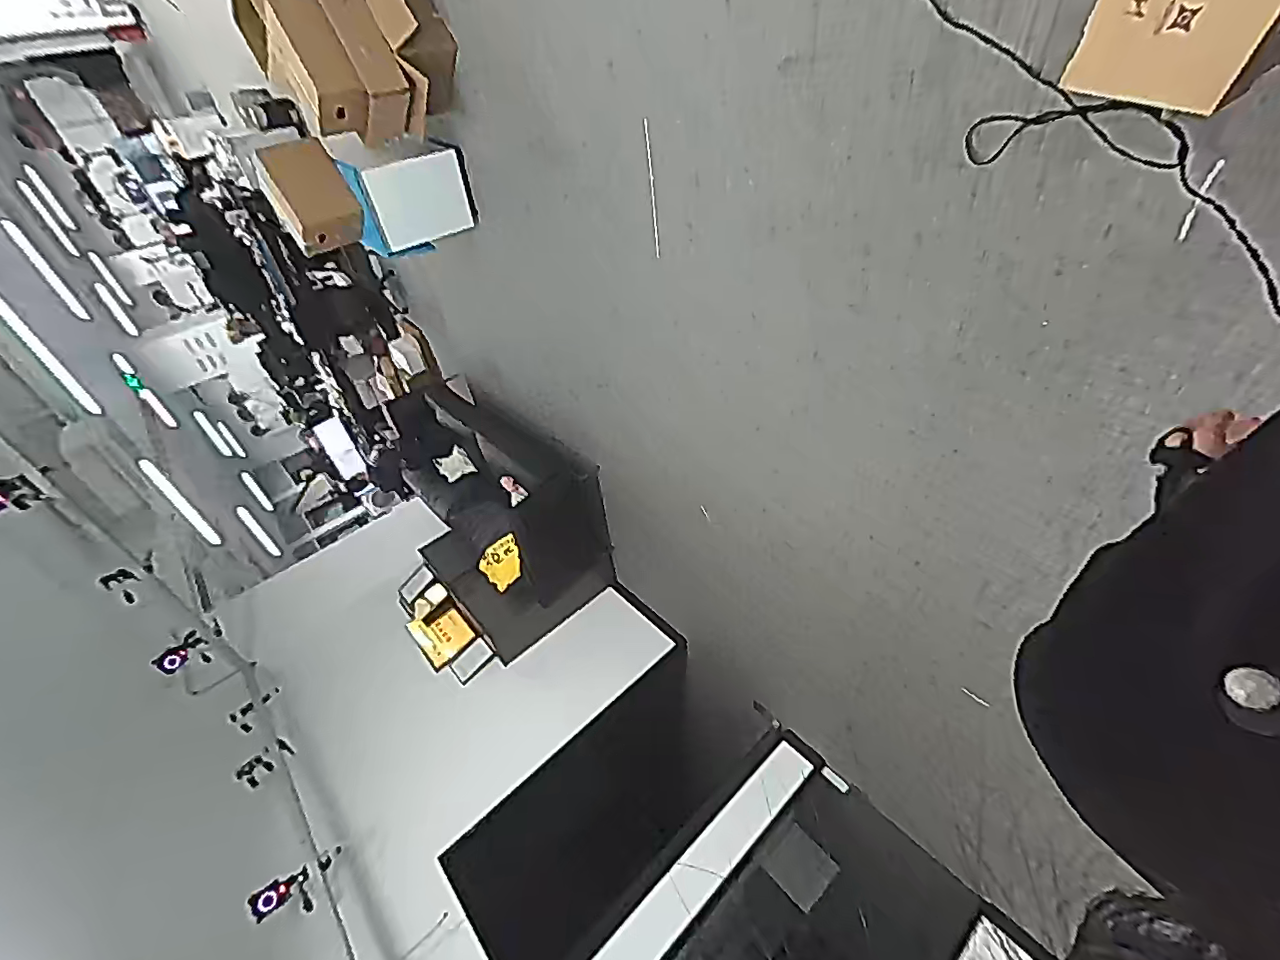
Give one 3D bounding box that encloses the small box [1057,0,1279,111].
[{"bbox_3d":[0.672,-0.573,0.653,0.179,0.176,0.168,41,148,30],"label":"small box"}]
